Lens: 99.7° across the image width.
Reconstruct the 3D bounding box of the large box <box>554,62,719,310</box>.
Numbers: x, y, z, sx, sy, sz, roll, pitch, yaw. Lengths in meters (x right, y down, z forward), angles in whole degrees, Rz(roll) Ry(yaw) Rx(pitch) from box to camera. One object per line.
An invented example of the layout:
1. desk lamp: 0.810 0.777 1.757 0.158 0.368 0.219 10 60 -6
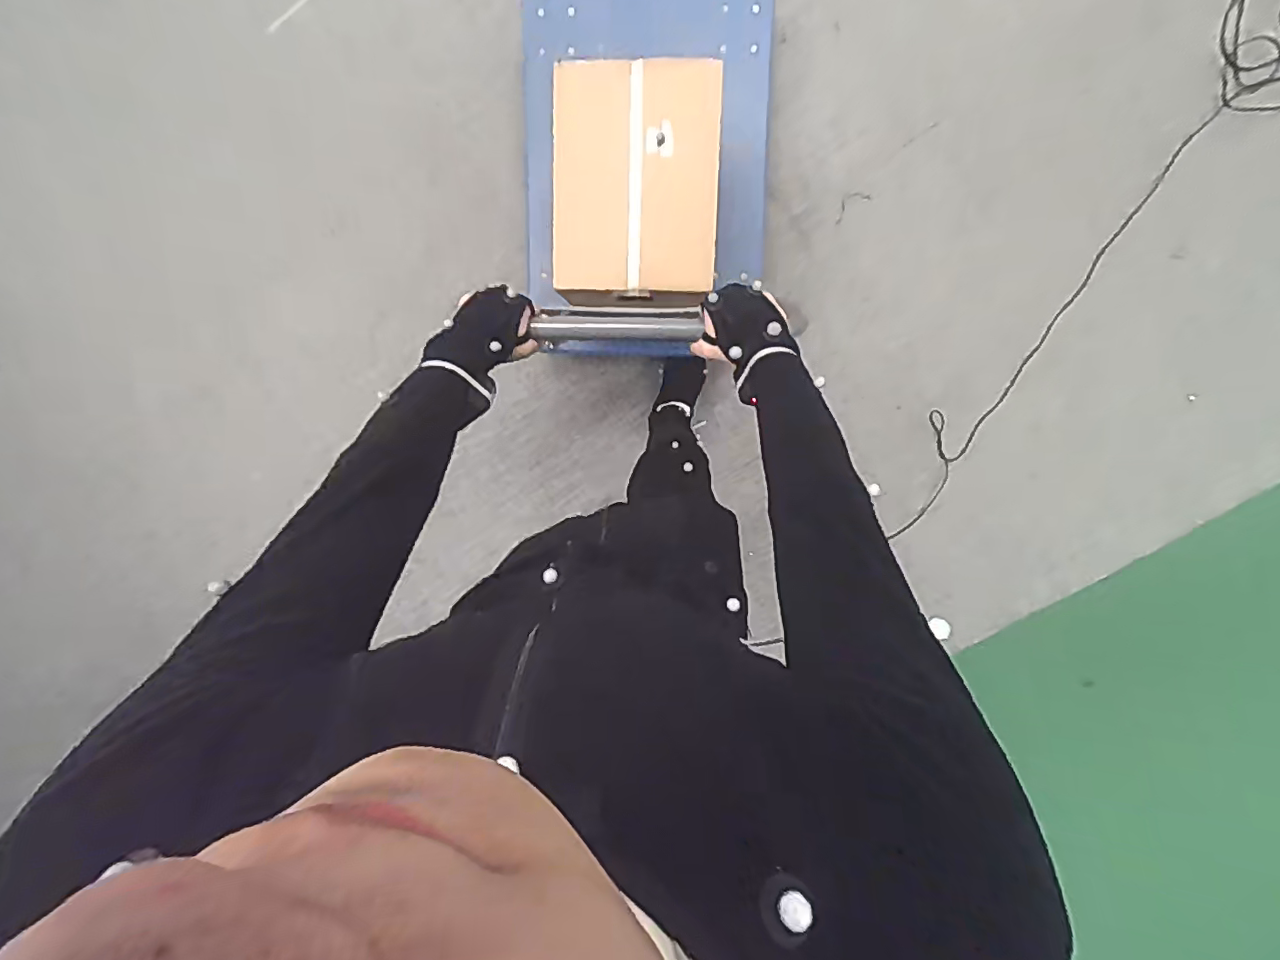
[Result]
1. large box: -0.001 -0.599 1.180 0.320 0.320 0.408 2 98 3
